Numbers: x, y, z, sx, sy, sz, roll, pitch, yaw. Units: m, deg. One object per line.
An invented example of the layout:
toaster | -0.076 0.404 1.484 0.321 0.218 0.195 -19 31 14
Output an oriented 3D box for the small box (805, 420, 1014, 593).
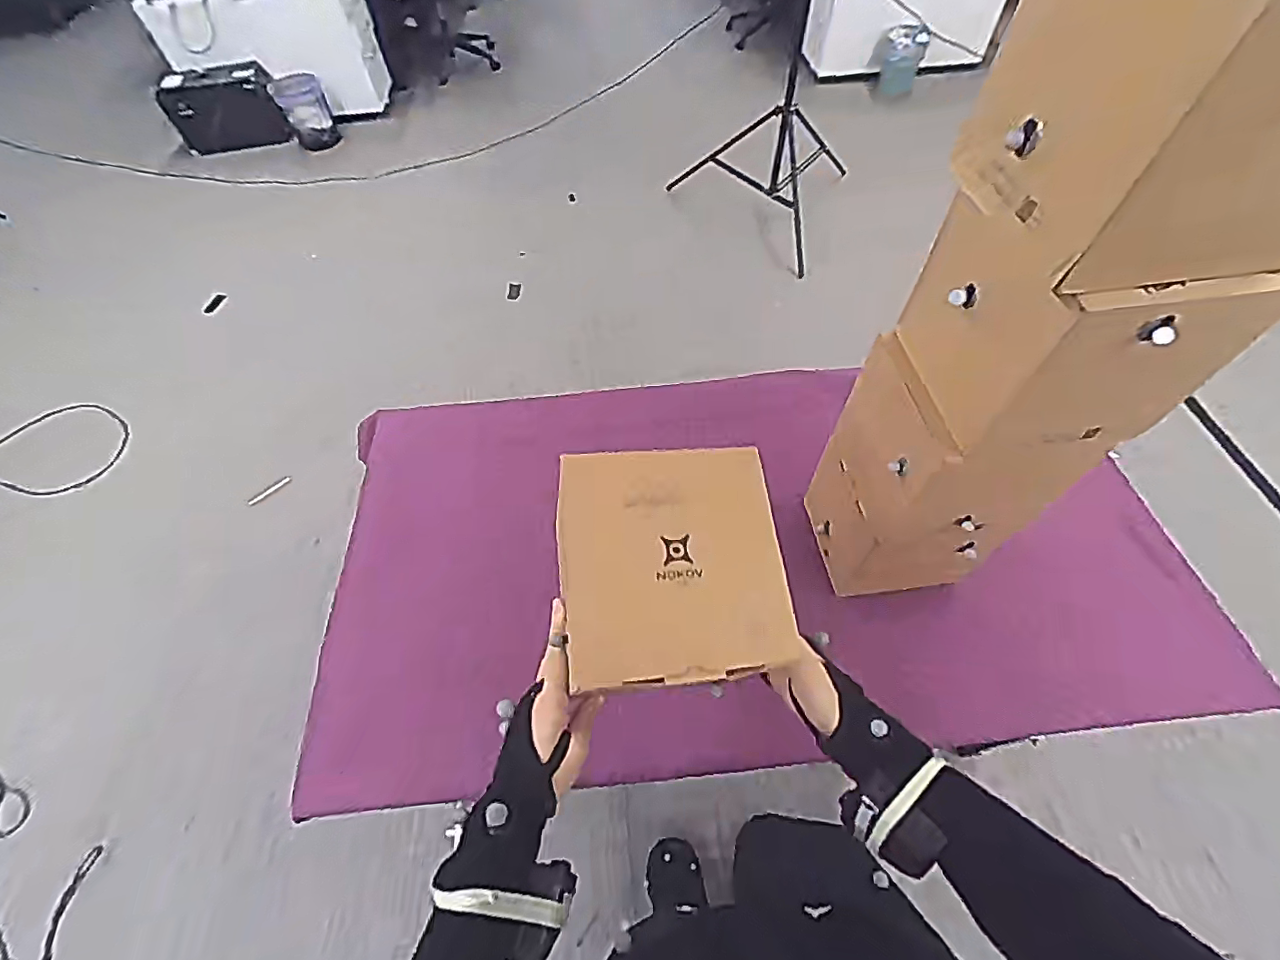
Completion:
small box | 0.347 0.040 0.737 0.179 0.176 0.168 -7 56 -2

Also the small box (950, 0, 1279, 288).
small box | 0.341 -0.244 0.336 0.179 0.176 0.168 -8 57 -2

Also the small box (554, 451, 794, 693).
small box | 0.011 0.089 0.482 0.168 0.176 0.179 -3 67 -12

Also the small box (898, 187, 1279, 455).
small box | 0.354 -0.144 0.465 0.168 0.176 0.179 -7 56 -2
